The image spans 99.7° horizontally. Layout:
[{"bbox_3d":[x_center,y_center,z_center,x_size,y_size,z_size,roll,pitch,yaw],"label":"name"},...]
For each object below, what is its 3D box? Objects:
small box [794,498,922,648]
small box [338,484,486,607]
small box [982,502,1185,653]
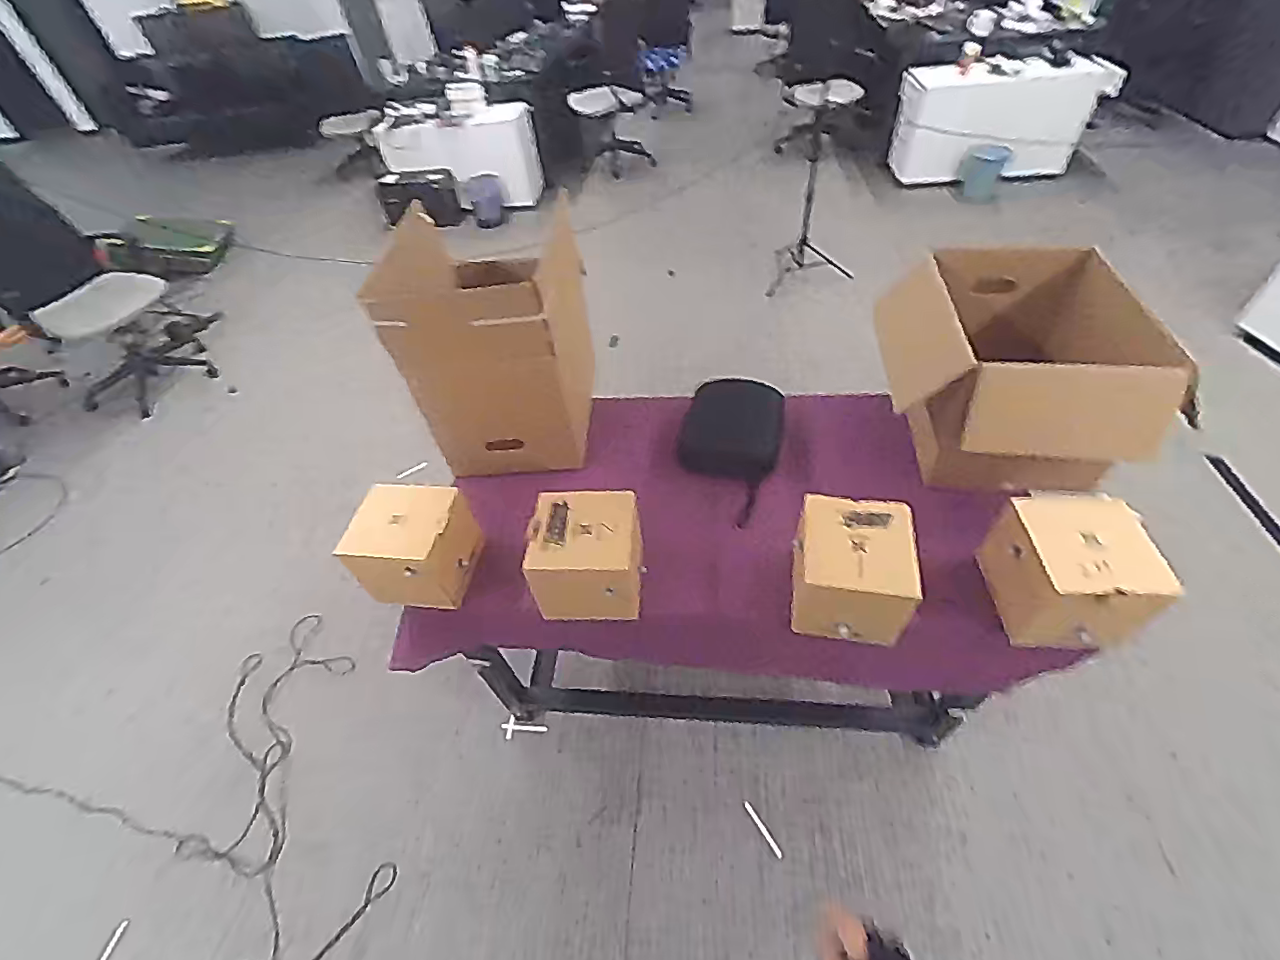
[{"bbox_3d":[0.354,0.156,0.908,0.168,0.176,0.179,6,50,12],"label":"small box"},{"bbox_3d":[-0.420,0.126,1.031,0.179,0.176,0.168,3,48,8],"label":"small box"},{"bbox_3d":[0.684,0.155,0.866,0.168,0.176,0.179,0,48,8],"label":"small box"}]
